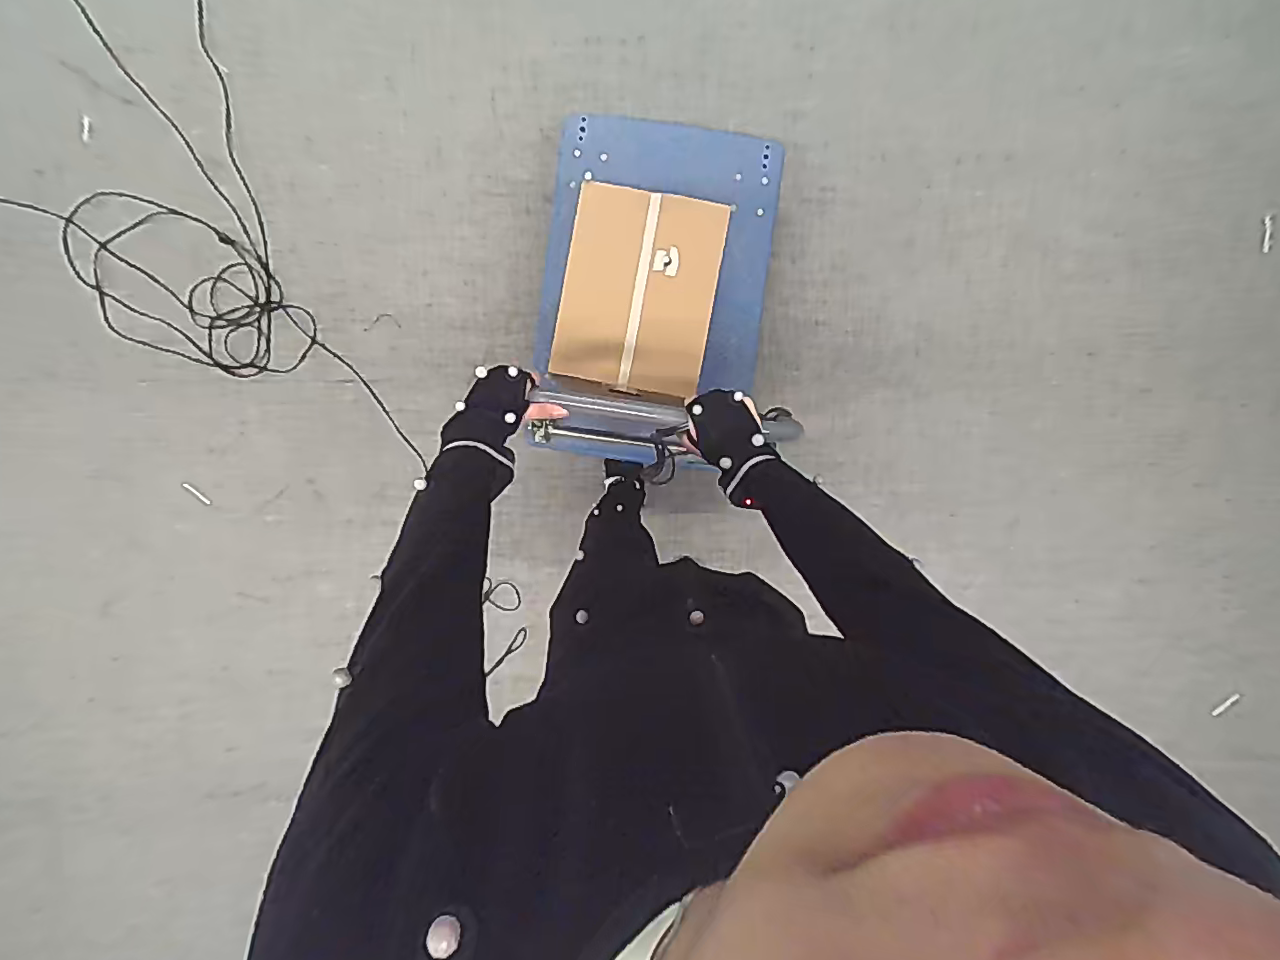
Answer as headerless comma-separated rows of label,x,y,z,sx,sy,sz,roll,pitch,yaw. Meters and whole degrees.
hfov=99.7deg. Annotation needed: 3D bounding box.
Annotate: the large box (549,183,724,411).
large box,-0.007,-0.396,1.267,0.320,0.320,0.408,11,91,-1
